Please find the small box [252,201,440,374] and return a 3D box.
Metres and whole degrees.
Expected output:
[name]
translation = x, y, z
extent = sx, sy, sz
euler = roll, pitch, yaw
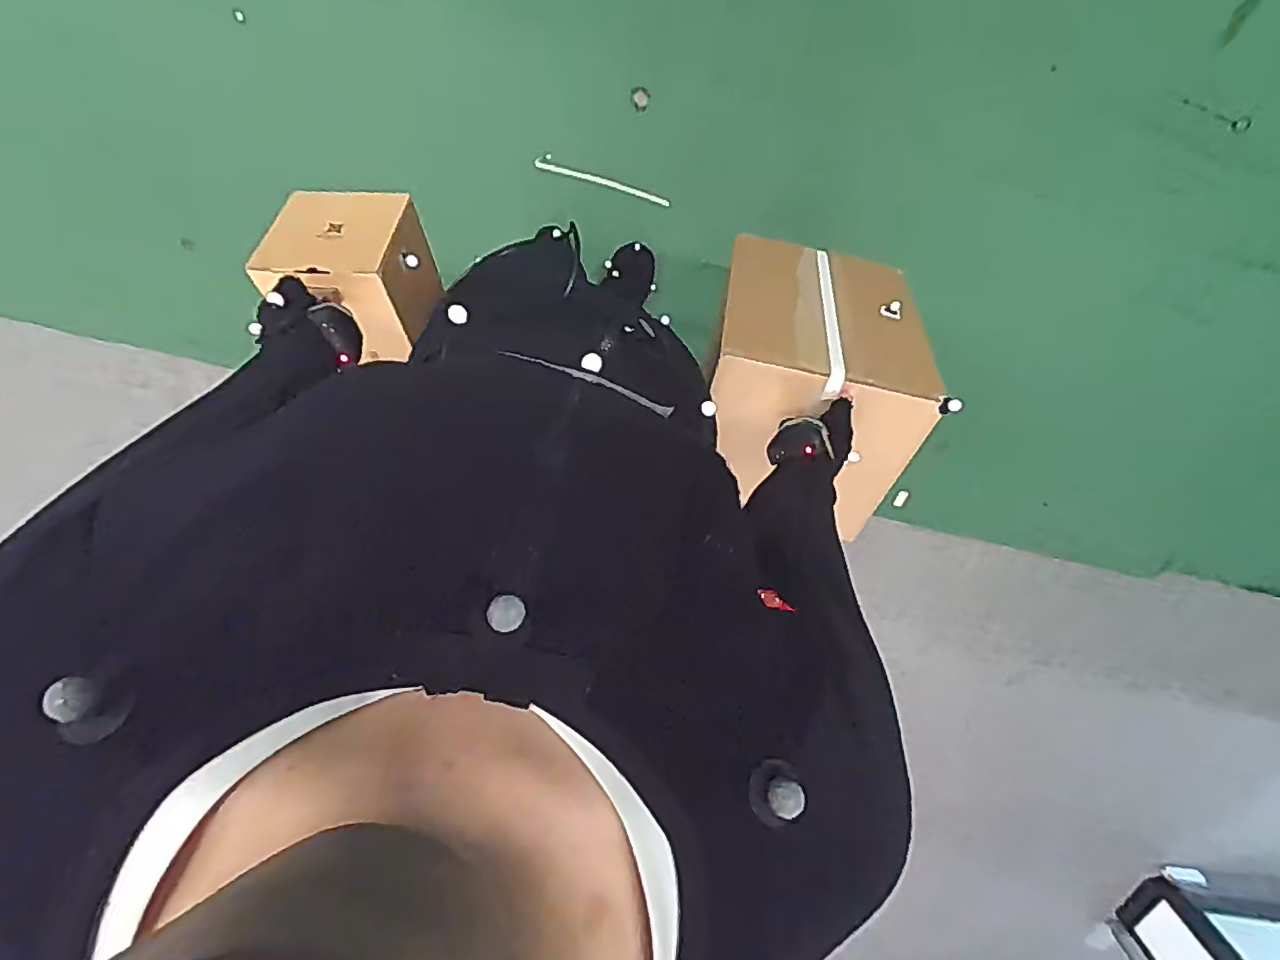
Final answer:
[small box]
translation = -0.409, -0.279, 0.792
extent = 0.168, 0.179, 0.176
euler = 1, 148, 0
